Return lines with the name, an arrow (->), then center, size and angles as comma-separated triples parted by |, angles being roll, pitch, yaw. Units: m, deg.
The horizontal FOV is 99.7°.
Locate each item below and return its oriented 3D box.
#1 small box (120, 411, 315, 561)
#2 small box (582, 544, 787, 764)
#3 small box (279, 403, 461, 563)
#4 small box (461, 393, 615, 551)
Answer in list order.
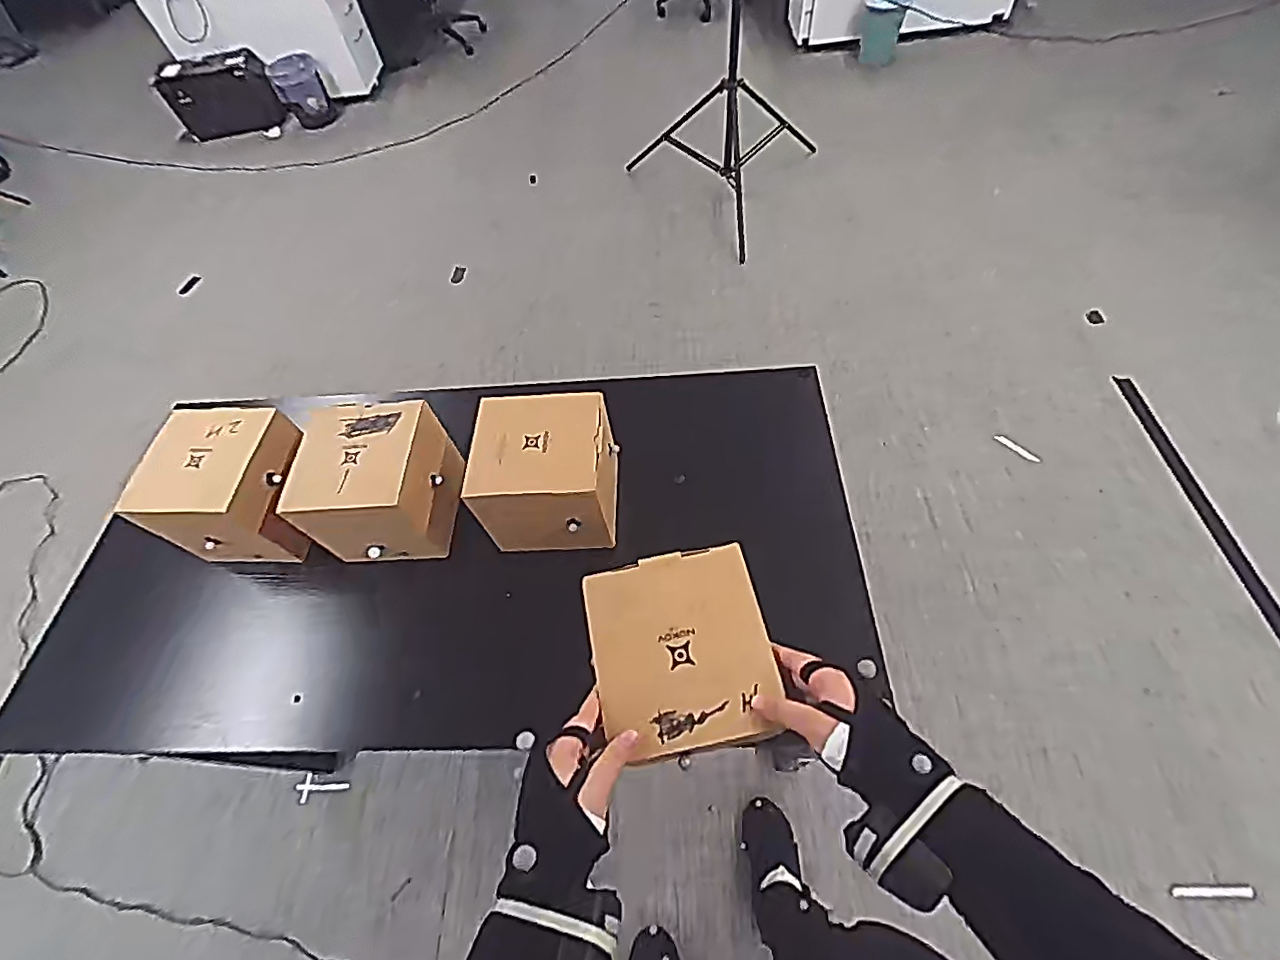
small box -> -0.604, 0.015, 0.823 | 0.168, 0.176, 0.179 | 0, 58, 5
small box -> 0.042, 0.193, 0.579 | 0.168, 0.176, 0.179 | -13, 62, 0
small box -> -0.381, 0.008, 0.803 | 0.168, 0.176, 0.179 | -4, 59, 3
small box -> -0.133, -0.006, 0.787 | 0.179, 0.176, 0.168 | -4, 57, 5
